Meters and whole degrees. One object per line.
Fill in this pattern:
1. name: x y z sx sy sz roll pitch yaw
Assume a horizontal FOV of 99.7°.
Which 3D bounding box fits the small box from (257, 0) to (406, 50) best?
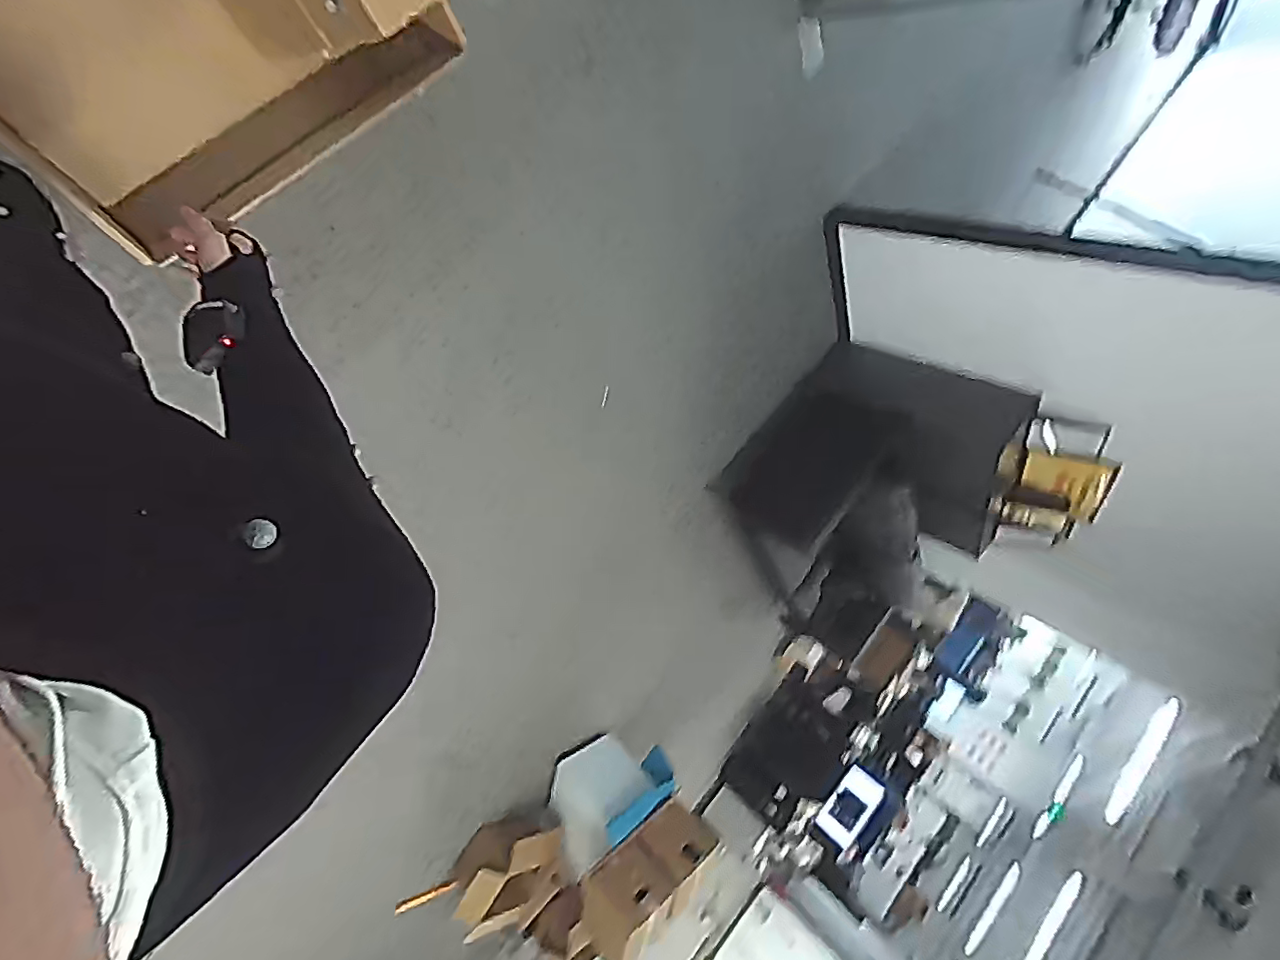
1. small box: -0.400 -0.661 0.655 0.168 0.176 0.179 -47 140 -12
